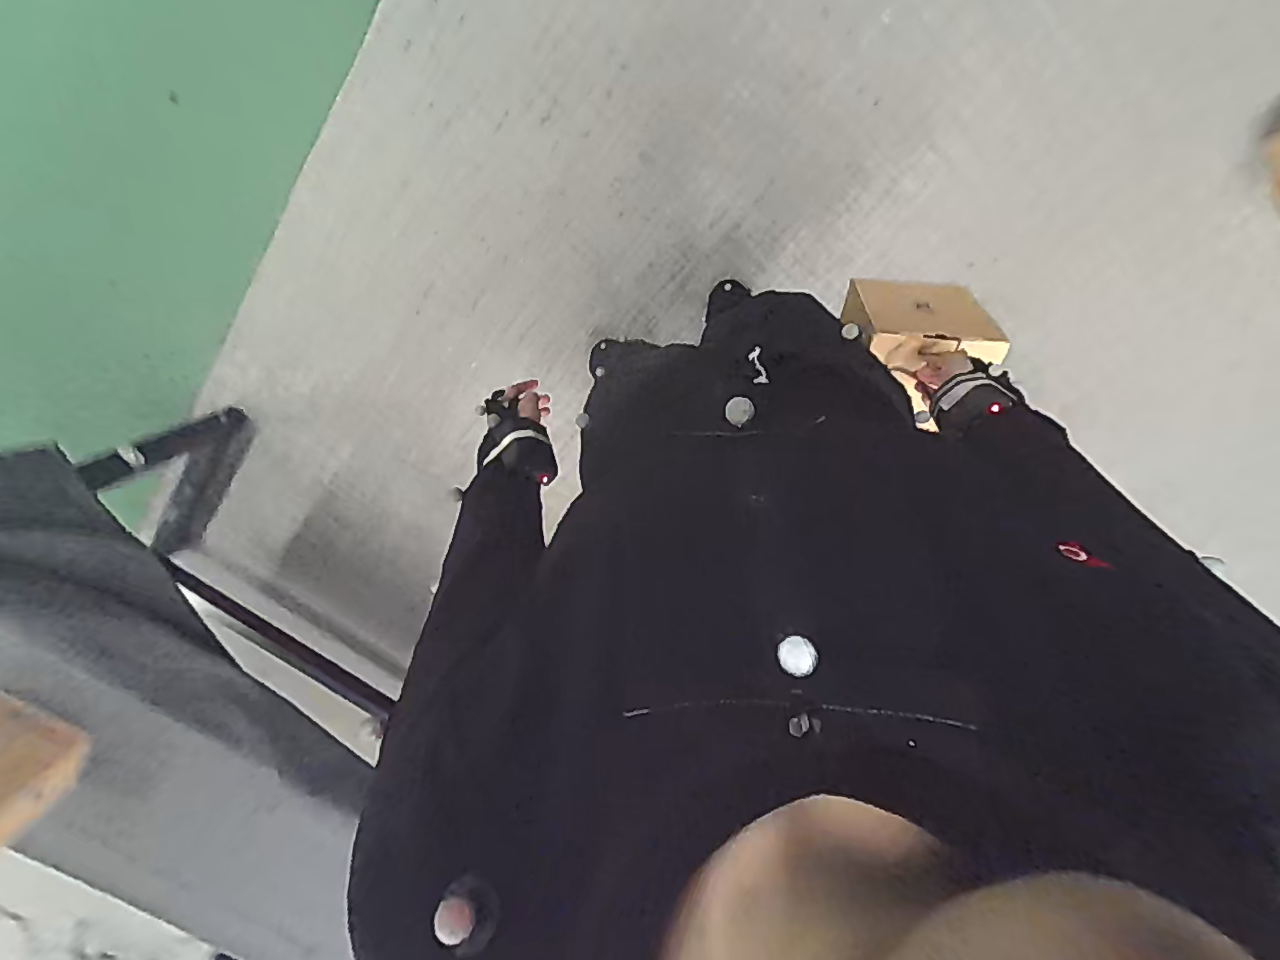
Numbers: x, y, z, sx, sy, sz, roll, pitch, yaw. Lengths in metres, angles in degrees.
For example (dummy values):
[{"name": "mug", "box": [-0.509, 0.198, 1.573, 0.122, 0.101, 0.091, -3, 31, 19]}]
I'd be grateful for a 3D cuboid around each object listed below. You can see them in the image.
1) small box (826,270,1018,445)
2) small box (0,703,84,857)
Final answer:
[{"name": "small box", "box": [0.376, -0.174, 0.765, 0.168, 0.179, 0.176, 6, 135, 2]}, {"name": "small box", "box": [-1.038, 0.486, 0.844, 0.168, 0.176, 0.179, 35, 114, -9]}]
